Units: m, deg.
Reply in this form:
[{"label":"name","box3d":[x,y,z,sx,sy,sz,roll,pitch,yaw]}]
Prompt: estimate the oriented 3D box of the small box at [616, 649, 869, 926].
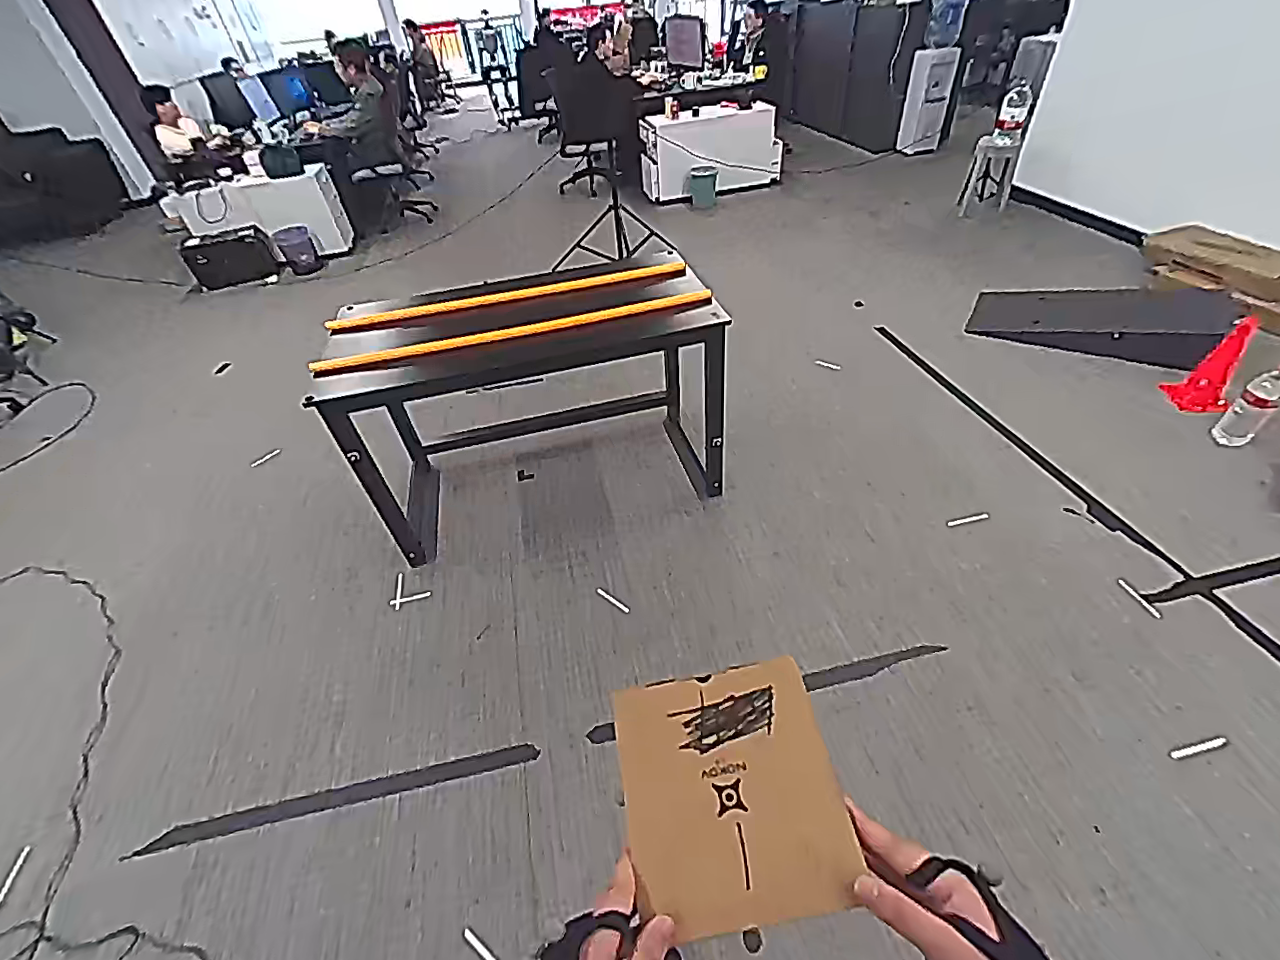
[{"label":"small box","box3d":[0.079,0.280,0.491,0.168,0.176,0.179,-12,51,1]}]
